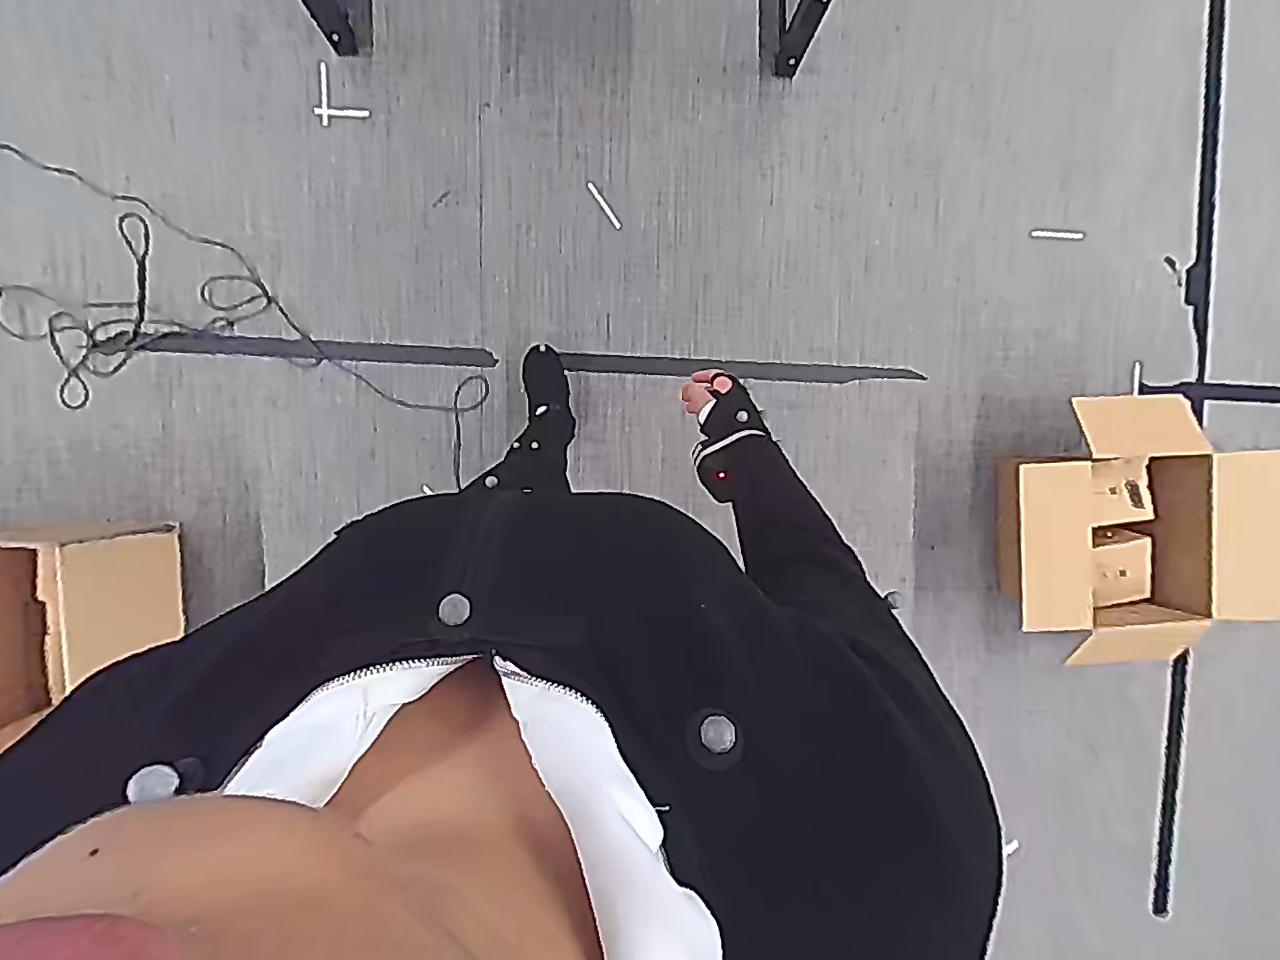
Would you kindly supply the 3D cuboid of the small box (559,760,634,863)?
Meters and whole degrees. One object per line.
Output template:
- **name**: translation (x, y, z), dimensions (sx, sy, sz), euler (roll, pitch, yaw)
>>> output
- **small box**: translation (-0.109, 0.842, 1.388), dimensions (0.179, 0.176, 0.168), euler (2, 90, -2)
